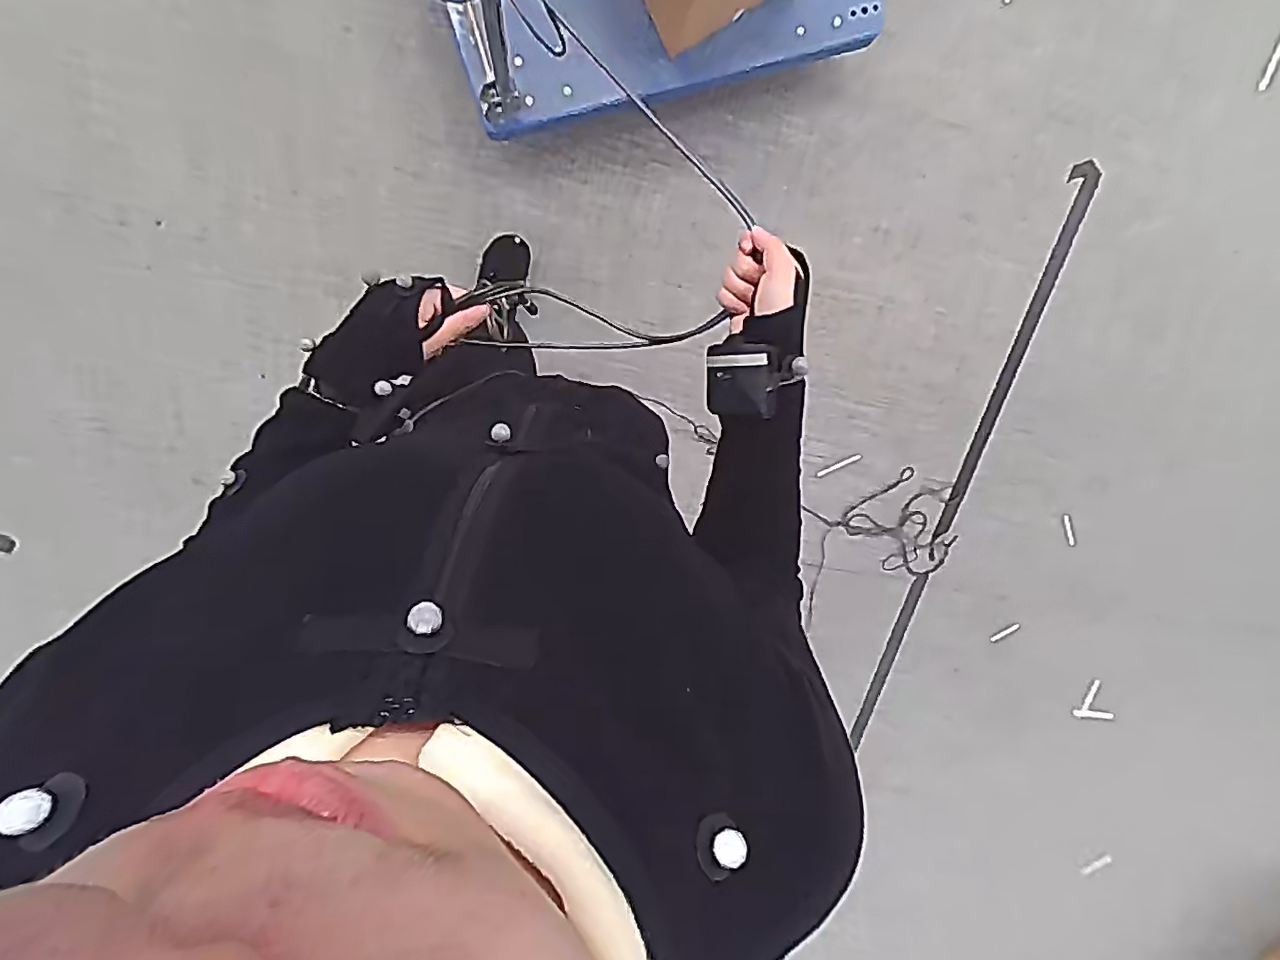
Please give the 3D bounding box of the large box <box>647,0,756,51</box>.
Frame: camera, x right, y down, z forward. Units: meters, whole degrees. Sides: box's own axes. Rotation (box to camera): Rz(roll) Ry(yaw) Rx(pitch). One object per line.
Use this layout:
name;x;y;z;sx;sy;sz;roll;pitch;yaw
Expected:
large box;0.112;-1.054;0.884;0.320;0.320;0.408;-30;109;3
